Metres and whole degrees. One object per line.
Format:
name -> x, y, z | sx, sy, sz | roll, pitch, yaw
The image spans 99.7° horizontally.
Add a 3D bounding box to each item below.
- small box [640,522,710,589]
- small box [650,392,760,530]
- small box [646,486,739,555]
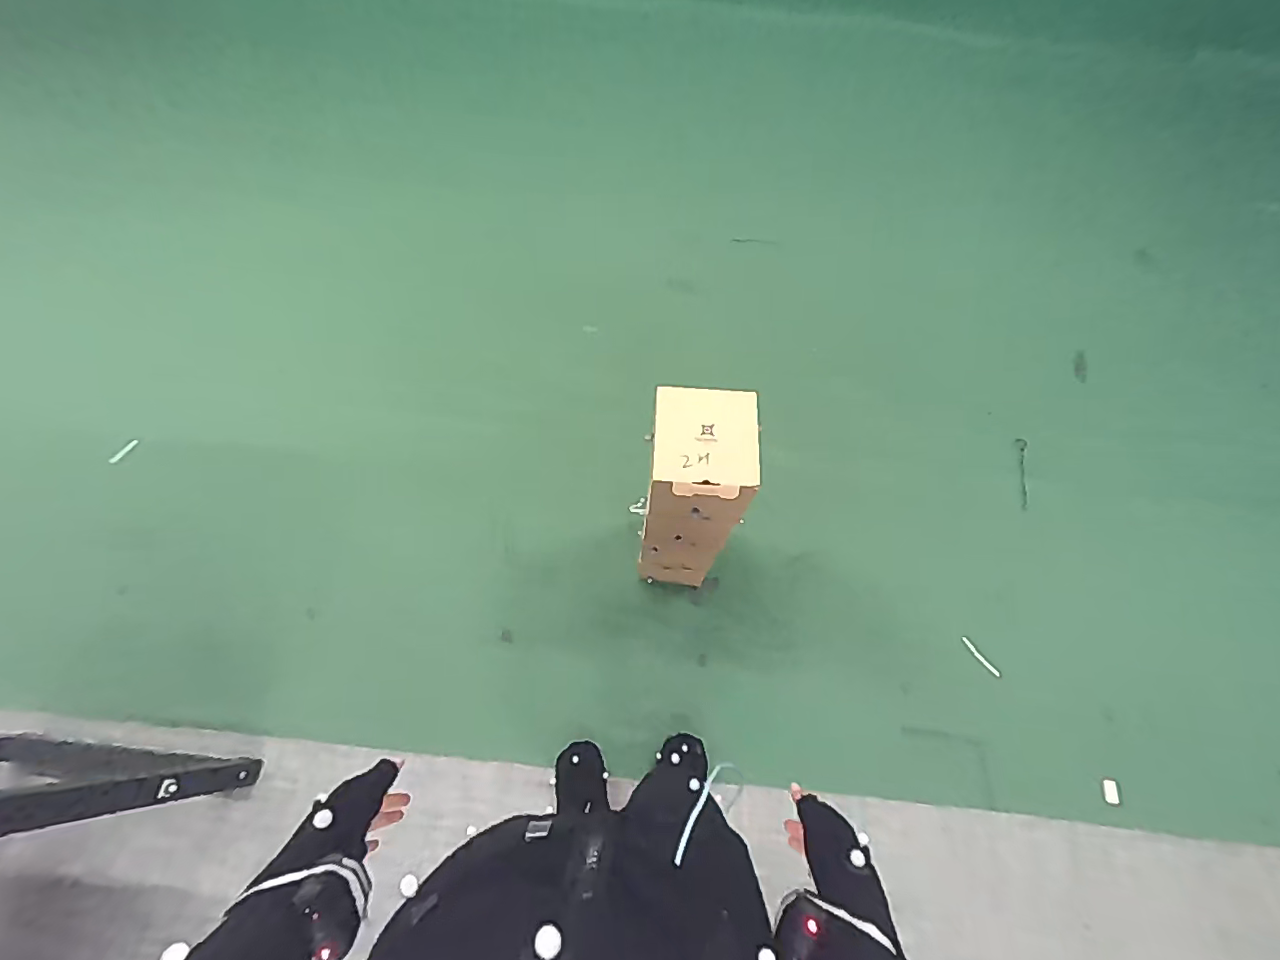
small box -> 0.092, 0.170, 1.381 | 0.168, 0.176, 0.179 | 7, 66, 2
small box -> 0.105, -0.029, 0.930 | 0.168, 0.176, 0.179 | 4, 66, 1
small box -> 0.102, 0.037, 1.082 | 0.168, 0.176, 0.179 | 5, 66, 1
